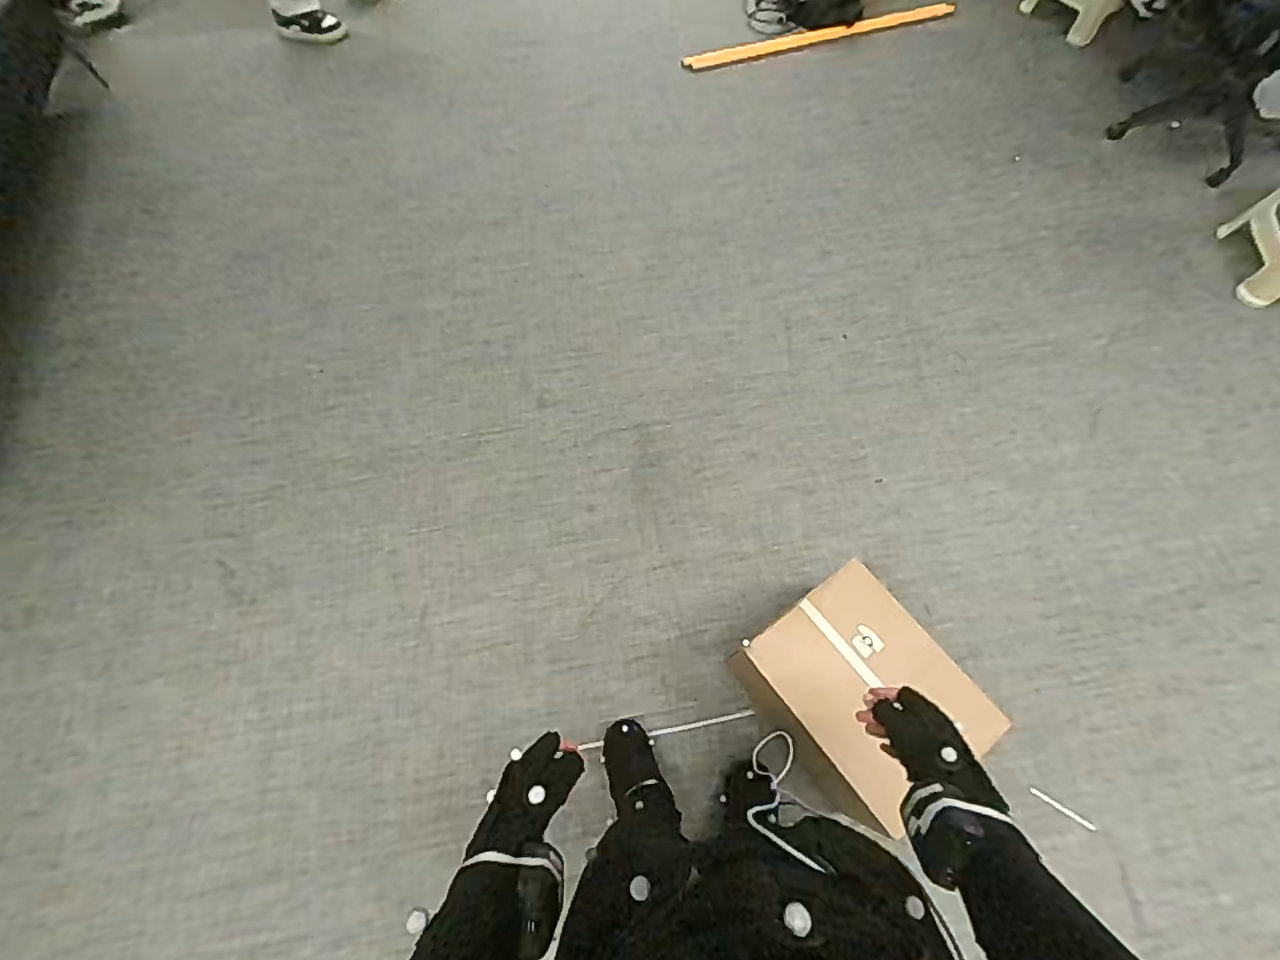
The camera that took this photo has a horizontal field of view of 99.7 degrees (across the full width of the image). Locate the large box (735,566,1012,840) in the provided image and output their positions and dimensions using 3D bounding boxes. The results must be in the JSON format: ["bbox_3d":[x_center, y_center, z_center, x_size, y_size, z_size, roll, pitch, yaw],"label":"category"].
[{"bbox_3d":[0.463,0.465,1.176,0.320,0.320,0.408,-35,69,-13],"label":"large box"}]
